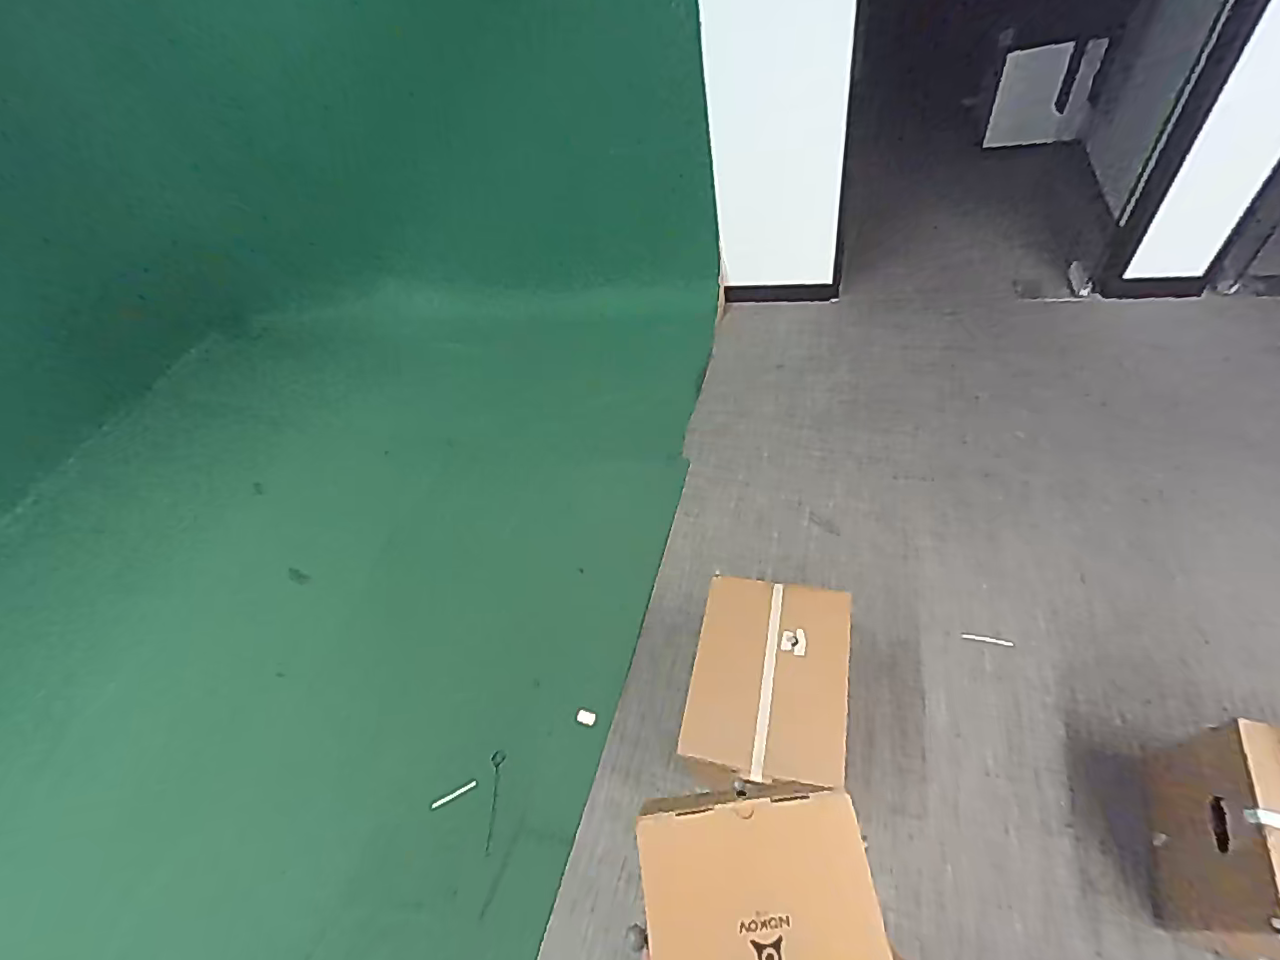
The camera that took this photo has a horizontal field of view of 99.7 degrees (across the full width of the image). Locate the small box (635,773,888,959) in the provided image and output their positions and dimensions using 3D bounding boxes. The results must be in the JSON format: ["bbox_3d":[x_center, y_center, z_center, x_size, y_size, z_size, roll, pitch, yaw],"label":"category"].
[{"bbox_3d":[0.090,0.352,0.448,0.168,0.176,0.179,-7,62,-1],"label":"small box"}]

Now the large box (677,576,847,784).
[{"bbox_3d":[0.295,0.485,1.238,0.320,0.320,0.408,5,53,19],"label":"large box"}]
